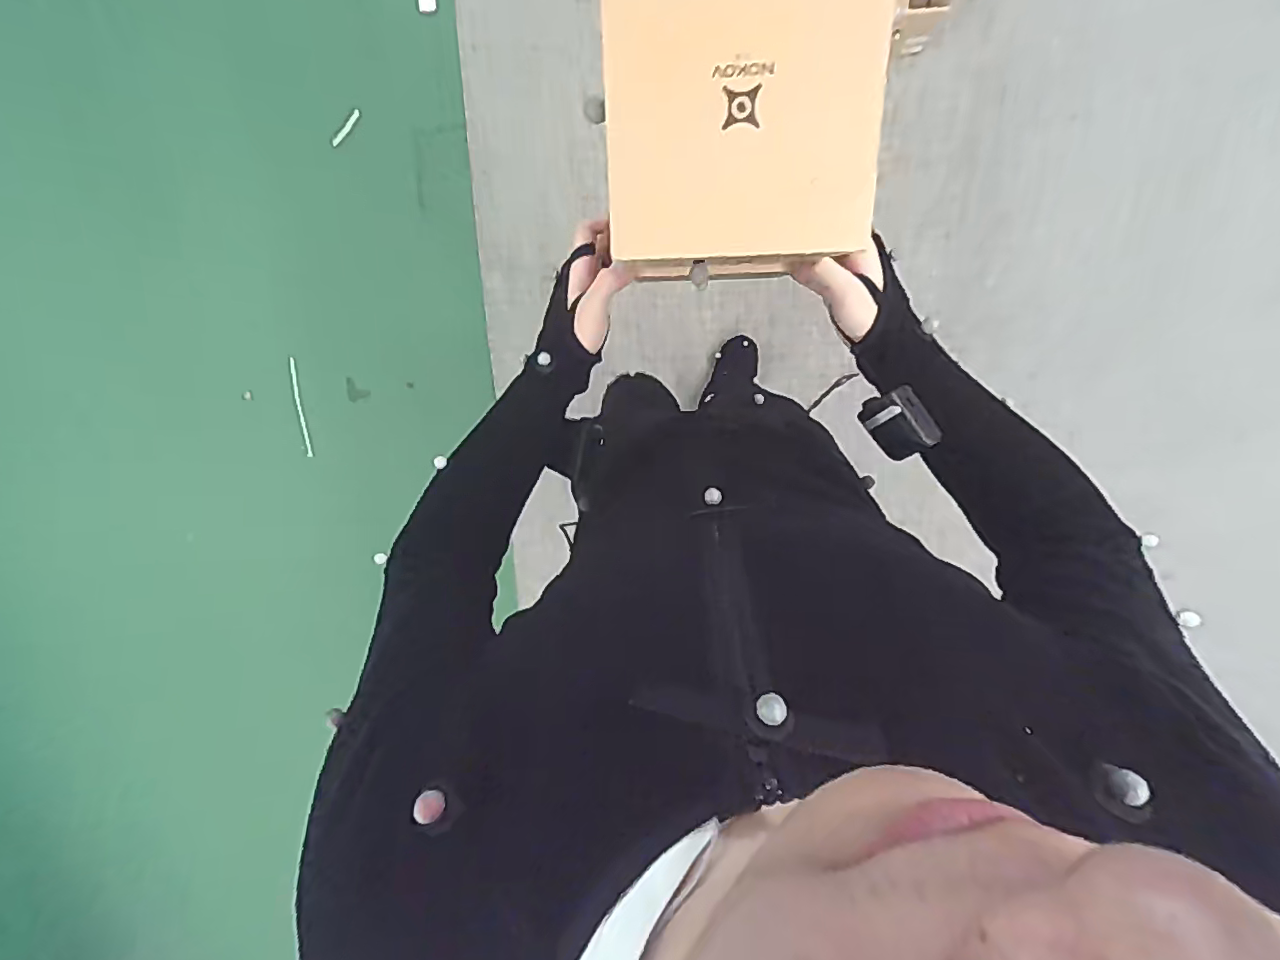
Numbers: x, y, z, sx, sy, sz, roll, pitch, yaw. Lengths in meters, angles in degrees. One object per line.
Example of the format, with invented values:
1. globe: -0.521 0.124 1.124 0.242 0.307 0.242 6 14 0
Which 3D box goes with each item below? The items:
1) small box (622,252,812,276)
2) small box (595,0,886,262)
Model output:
1. small box: 0.075 -0.300 0.550 0.179 0.176 0.168 0 109 4
2. small box: 0.063 -0.257 0.394 0.168 0.176 0.179 0 108 5
